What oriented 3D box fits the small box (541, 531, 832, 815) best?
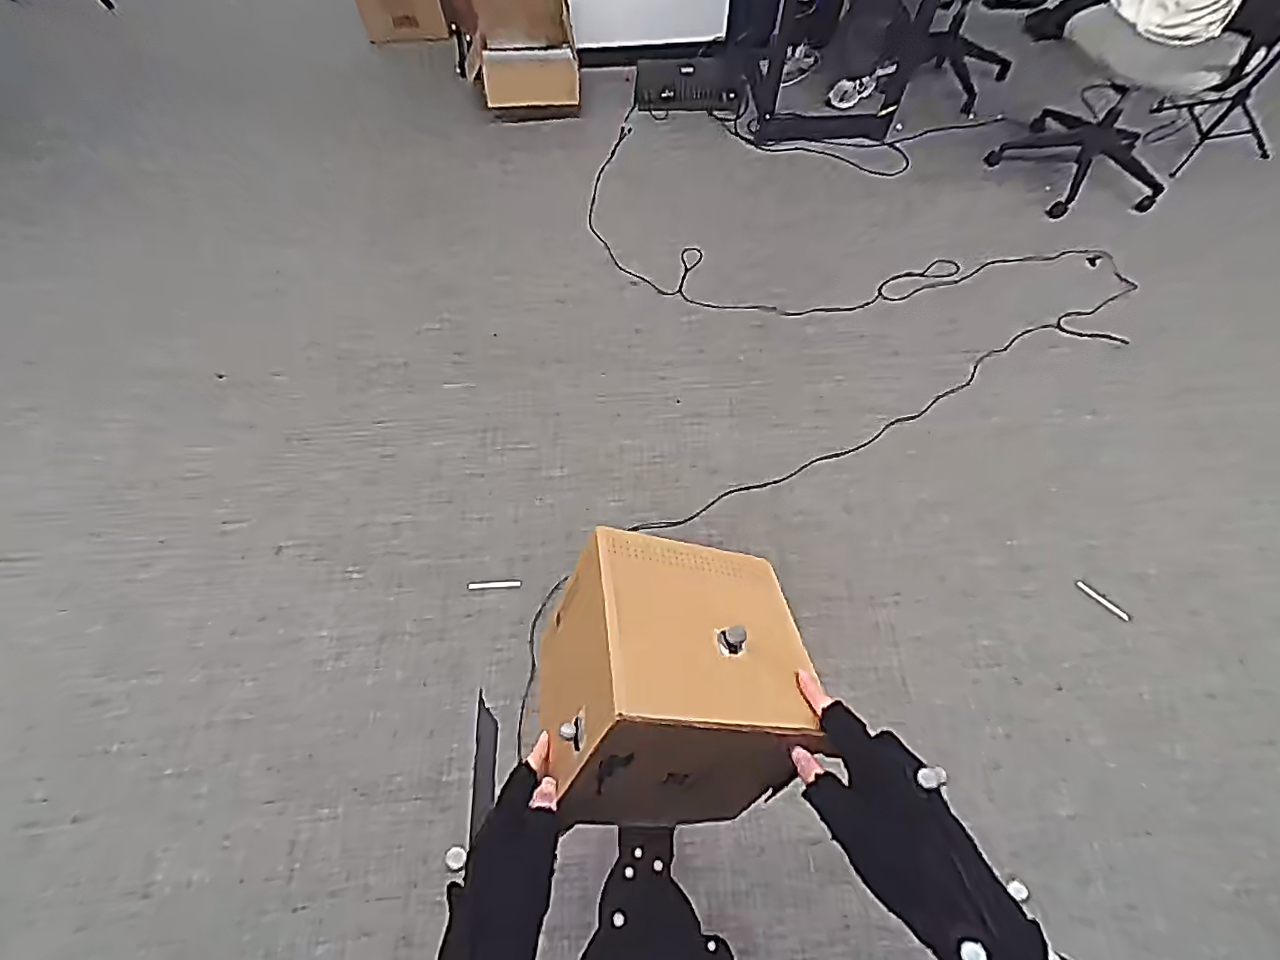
[{"bbox_3d":[0.021,0.164,0.468,0.179,0.168,0.176,13,35,-21],"label":"small box"}]
